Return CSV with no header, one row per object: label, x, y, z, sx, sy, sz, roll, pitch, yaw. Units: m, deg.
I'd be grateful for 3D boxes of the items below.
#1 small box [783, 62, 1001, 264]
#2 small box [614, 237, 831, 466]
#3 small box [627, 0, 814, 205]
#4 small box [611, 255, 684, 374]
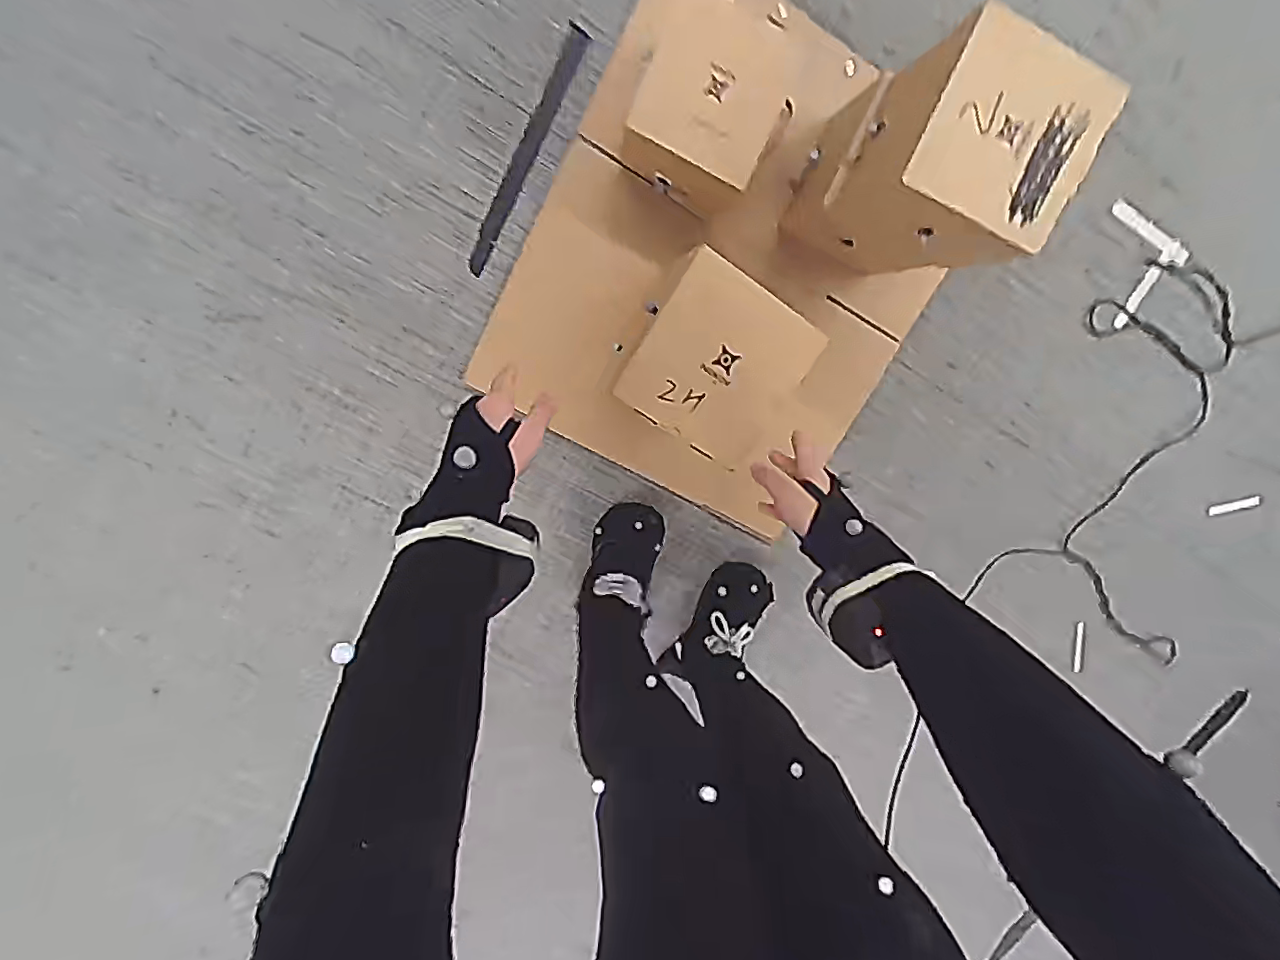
small box,0.331,-0.414,0.746,0.179,0.176,0.168,23,103,-11
small box,0.078,-0.148,0.629,0.168,0.176,0.179,31,103,-13
small box,0.087,-0.490,0.699,0.168,0.176,0.179,22,103,-9
small box,0.066,-0.198,0.785,0.168,0.176,0.179,30,103,-13
